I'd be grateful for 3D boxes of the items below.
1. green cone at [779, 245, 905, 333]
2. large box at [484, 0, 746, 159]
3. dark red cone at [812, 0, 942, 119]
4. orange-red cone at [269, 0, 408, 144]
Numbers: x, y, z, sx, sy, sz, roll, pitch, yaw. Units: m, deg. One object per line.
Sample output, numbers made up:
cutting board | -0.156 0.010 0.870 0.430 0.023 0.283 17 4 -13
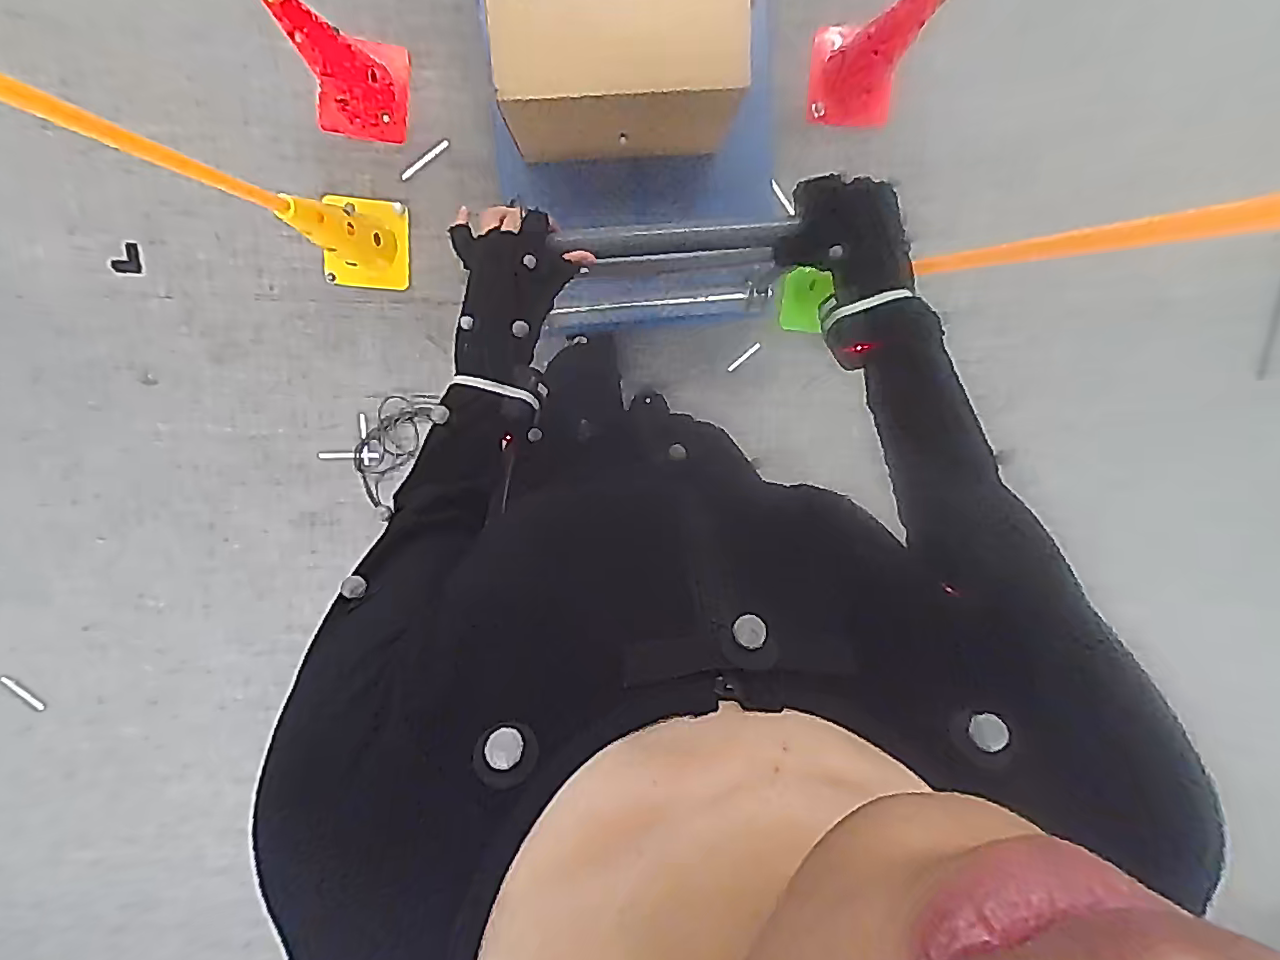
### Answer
green cone | 0.476 -0.447 1.219 0.202 0.368 0.200 4 103 -6
large box | -0.045 -0.795 0.959 0.408 0.320 0.320 -4 104 -1
dark red cone | 0.512 -0.914 1.091 0.201 0.394 0.202 0 104 -5
orange-red cone | -0.620 -0.851 1.062 0.198 0.360 0.199 8 101 -6
